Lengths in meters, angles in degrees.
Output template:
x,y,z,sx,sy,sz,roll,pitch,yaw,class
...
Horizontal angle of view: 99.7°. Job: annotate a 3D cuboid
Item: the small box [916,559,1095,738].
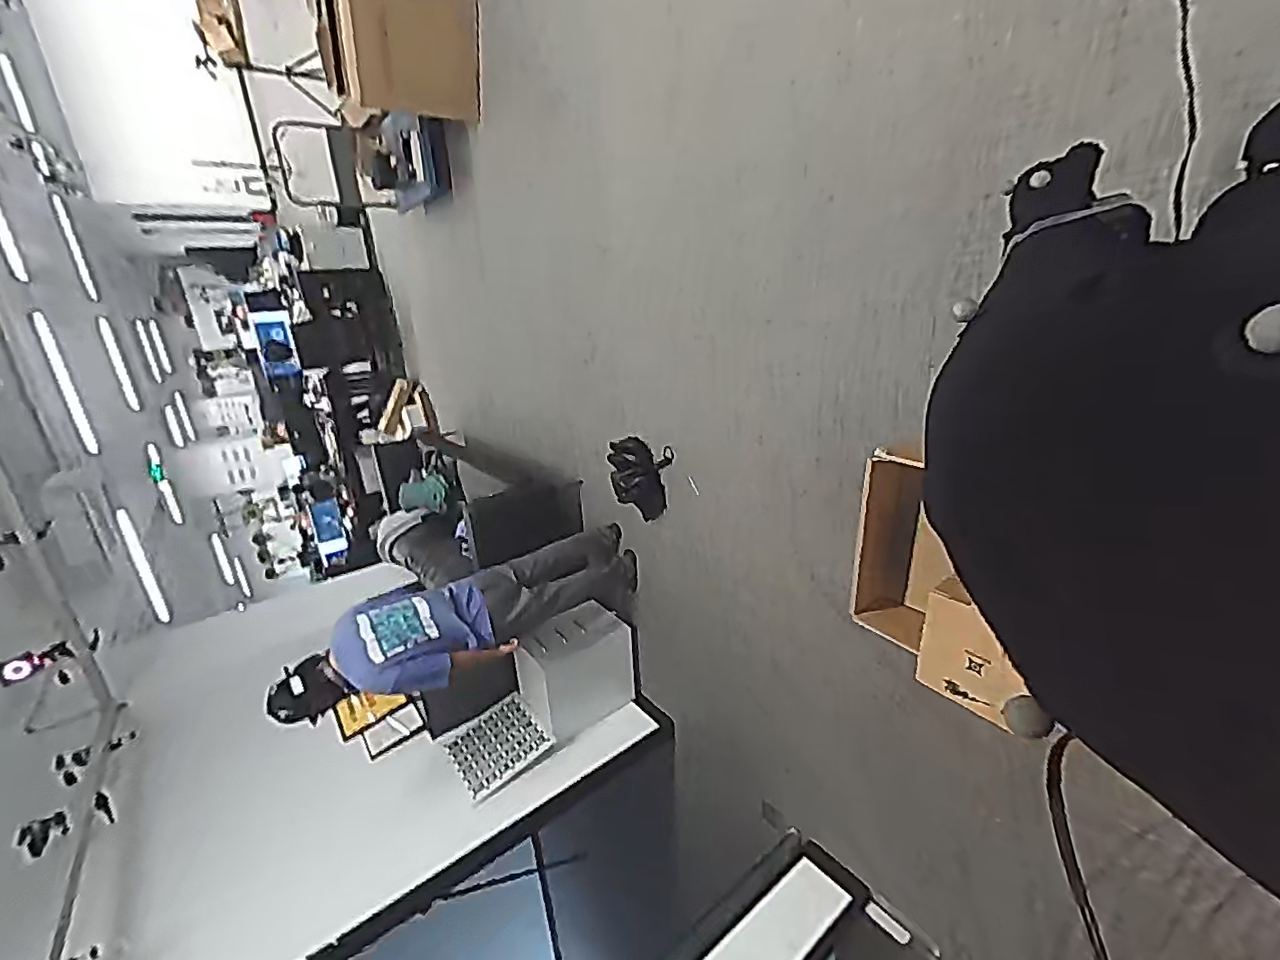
x,y,z,sx,sy,sz,roll,pitch,yaw,class
0.561,0.244,0.835,0.168,0.176,0.179,25,124,50,small box
